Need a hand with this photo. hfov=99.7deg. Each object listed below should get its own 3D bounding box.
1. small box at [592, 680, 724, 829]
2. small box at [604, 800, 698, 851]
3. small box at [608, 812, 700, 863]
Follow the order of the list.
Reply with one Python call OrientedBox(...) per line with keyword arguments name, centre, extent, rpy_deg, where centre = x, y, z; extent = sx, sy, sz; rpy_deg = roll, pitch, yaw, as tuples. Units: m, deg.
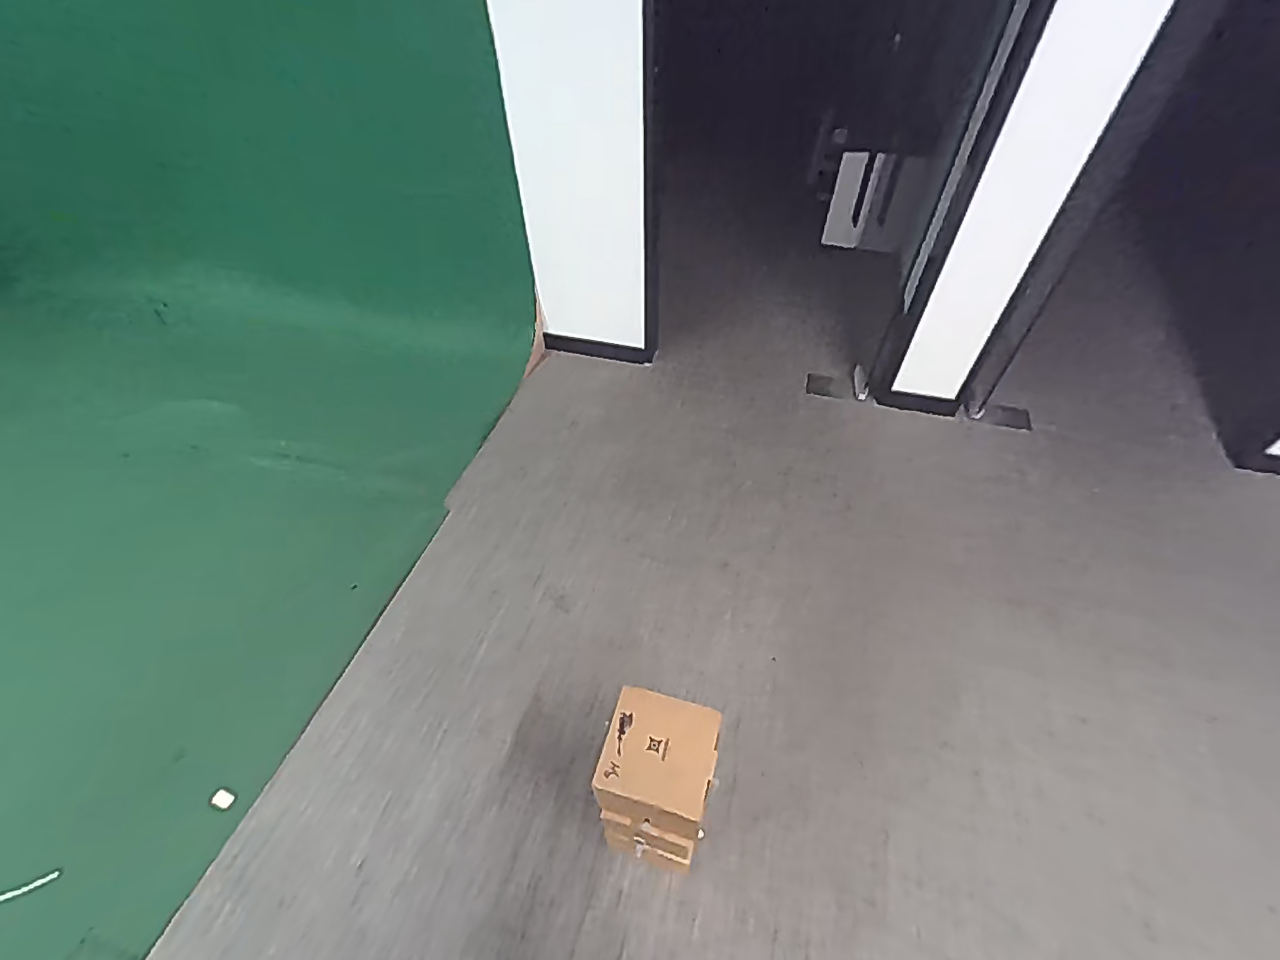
OrientedBox(name="small box", centre=(0.036, 0.474, 0.924), extent=(0.179, 0.176, 0.168), rpy_deg=(12, 51, 14))
OrientedBox(name="small box", centre=(0.042, 0.584, 1.044), extent=(0.168, 0.176, 0.179), rpy_deg=(11, 52, 14))
OrientedBox(name="small box", centre=(0.045, 0.696, 1.162), extent=(0.179, 0.176, 0.168), rpy_deg=(14, 52, 13))
